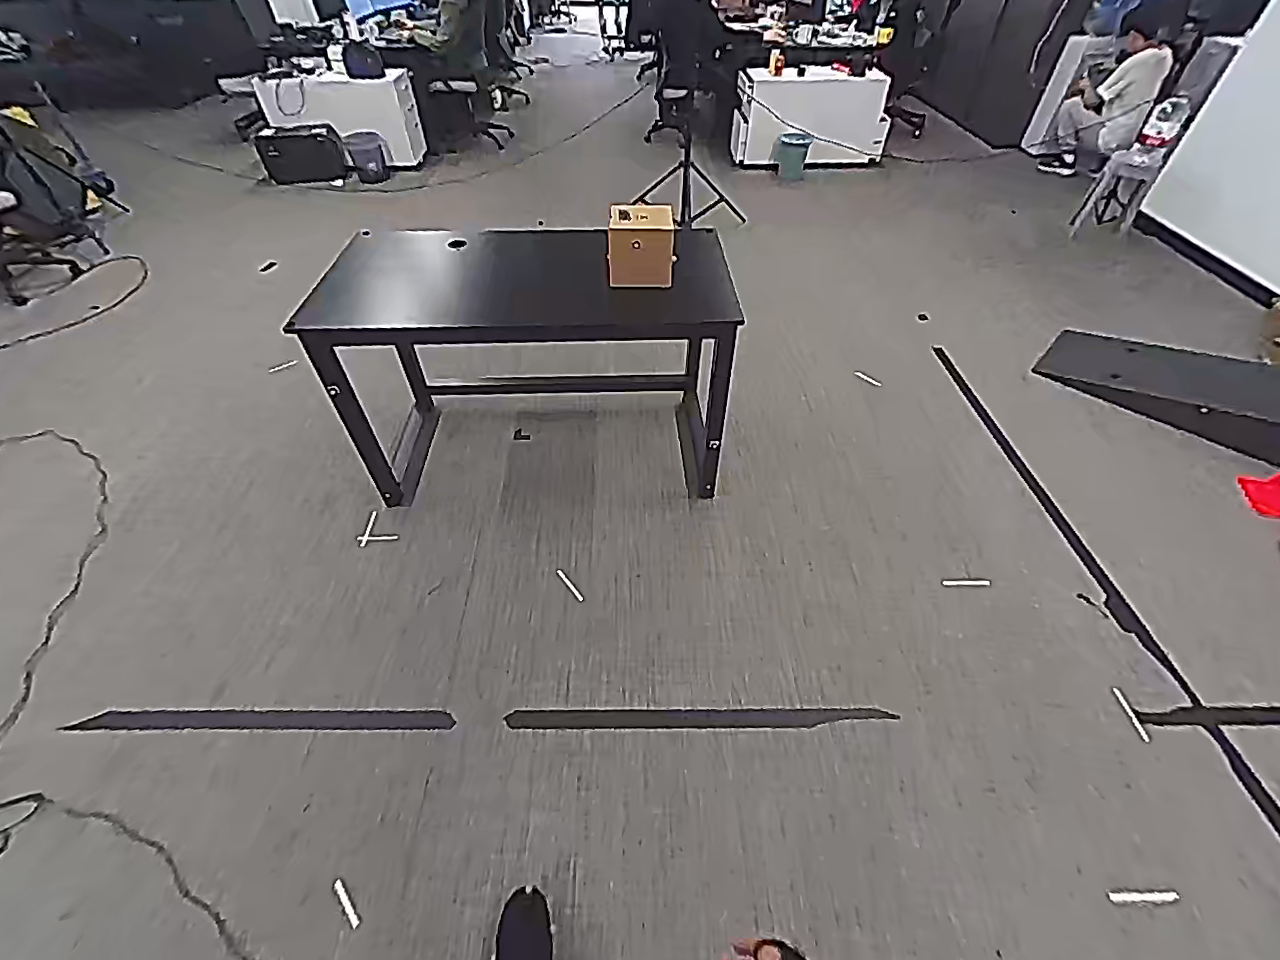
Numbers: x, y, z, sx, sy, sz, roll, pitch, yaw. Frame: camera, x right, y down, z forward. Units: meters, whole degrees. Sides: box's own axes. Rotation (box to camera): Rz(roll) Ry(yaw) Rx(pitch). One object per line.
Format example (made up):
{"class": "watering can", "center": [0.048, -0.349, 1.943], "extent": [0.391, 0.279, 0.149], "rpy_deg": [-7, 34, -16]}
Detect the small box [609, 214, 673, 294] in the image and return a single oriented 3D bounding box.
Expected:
{"class": "small box", "center": [0.005, -0.653, 1.566], "extent": [0.179, 0.176, 0.168], "rpy_deg": [0, 46, 0]}
